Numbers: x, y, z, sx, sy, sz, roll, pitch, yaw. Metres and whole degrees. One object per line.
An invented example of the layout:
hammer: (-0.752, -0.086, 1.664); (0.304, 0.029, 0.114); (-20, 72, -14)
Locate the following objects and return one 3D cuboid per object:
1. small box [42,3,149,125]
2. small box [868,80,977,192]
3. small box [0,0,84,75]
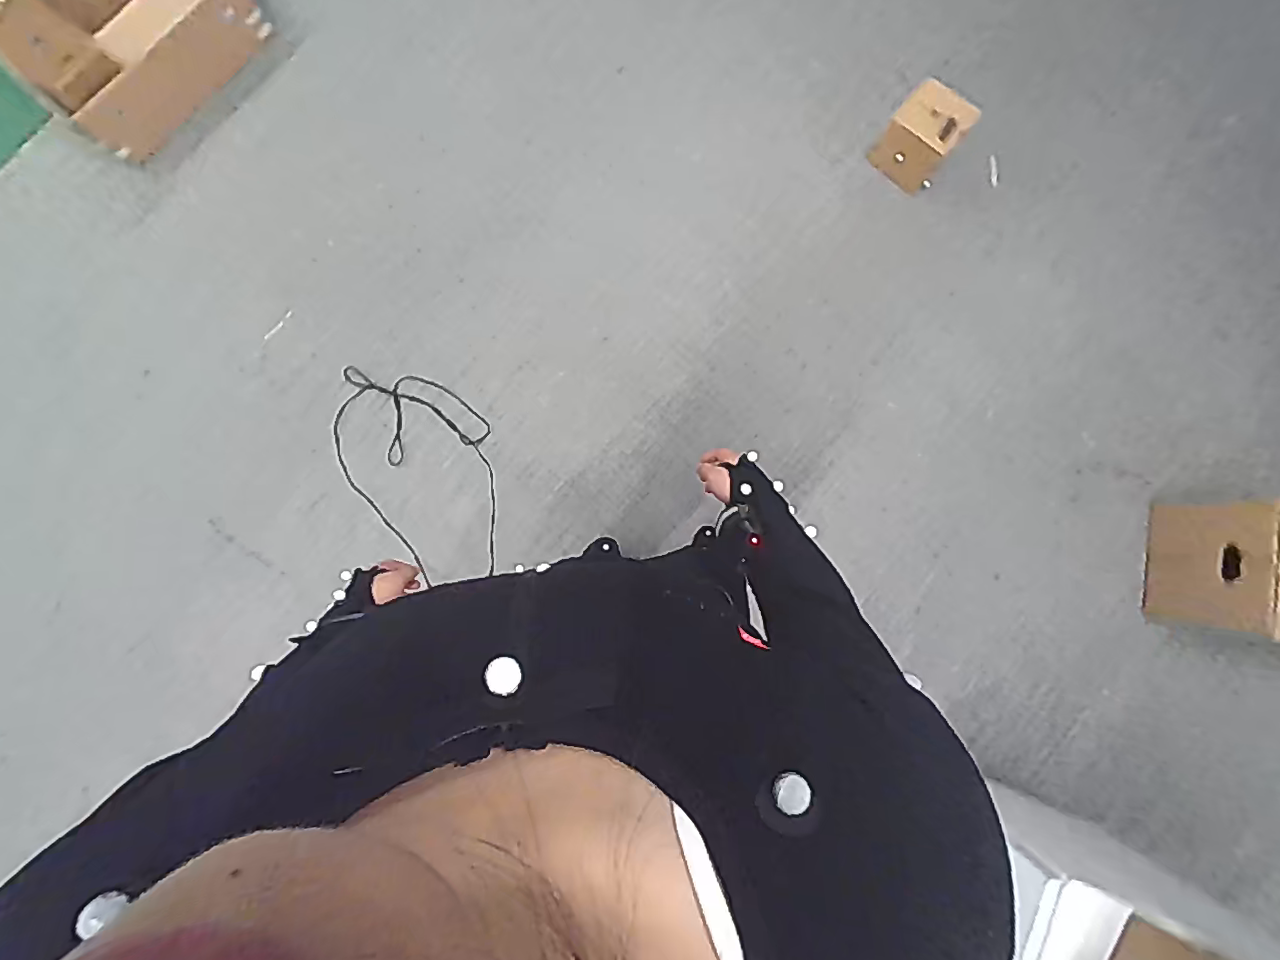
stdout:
small box: (-1.548, -1.145, 1.501); (0.179, 0.176, 0.168); (39, 87, 2)
small box: (0.786, -0.954, 1.524); (0.179, 0.176, 0.168); (42, 87, 4)
small box: (-1.564, -1.159, 1.338); (0.179, 0.176, 0.168); (44, 87, 3)
